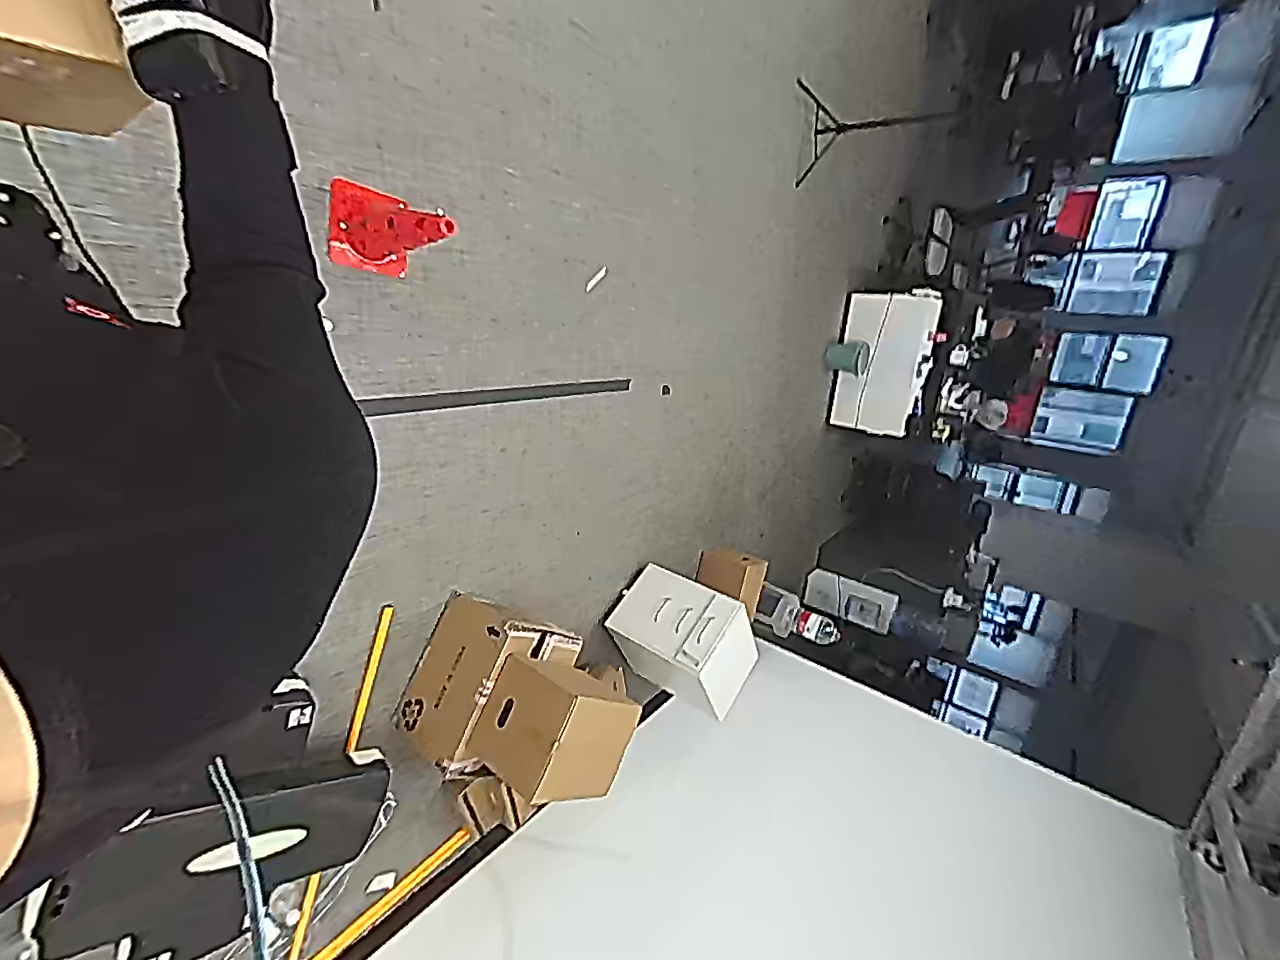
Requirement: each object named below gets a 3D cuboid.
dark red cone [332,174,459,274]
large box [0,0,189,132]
[{"bbox_3d":[-0.550,-0.599,1.274,0.201,0.394,0.202,-8,110,-51],"label":"dark red cone"},{"bbox_3d":[-0.559,-0.419,0.280,0.408,0.320,0.320,-20,120,-47],"label":"large box"}]
